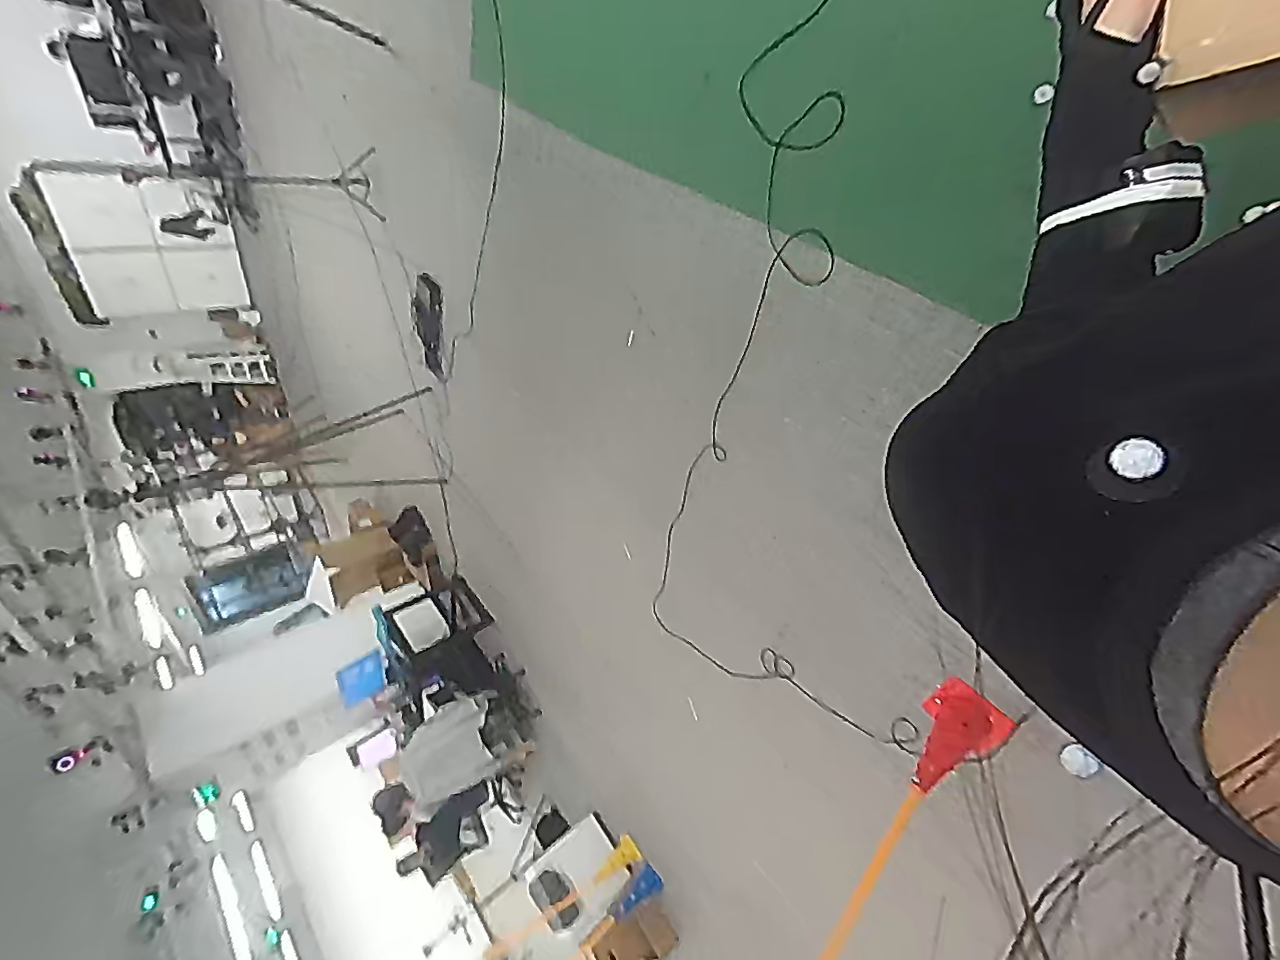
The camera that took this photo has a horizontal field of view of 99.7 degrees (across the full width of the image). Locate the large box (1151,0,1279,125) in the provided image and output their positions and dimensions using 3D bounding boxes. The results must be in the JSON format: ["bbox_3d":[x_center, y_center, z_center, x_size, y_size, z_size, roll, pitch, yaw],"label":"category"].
[{"bbox_3d":[0.583,-0.444,0.292,0.408,0.320,0.320,10,114,45],"label":"large box"}]
